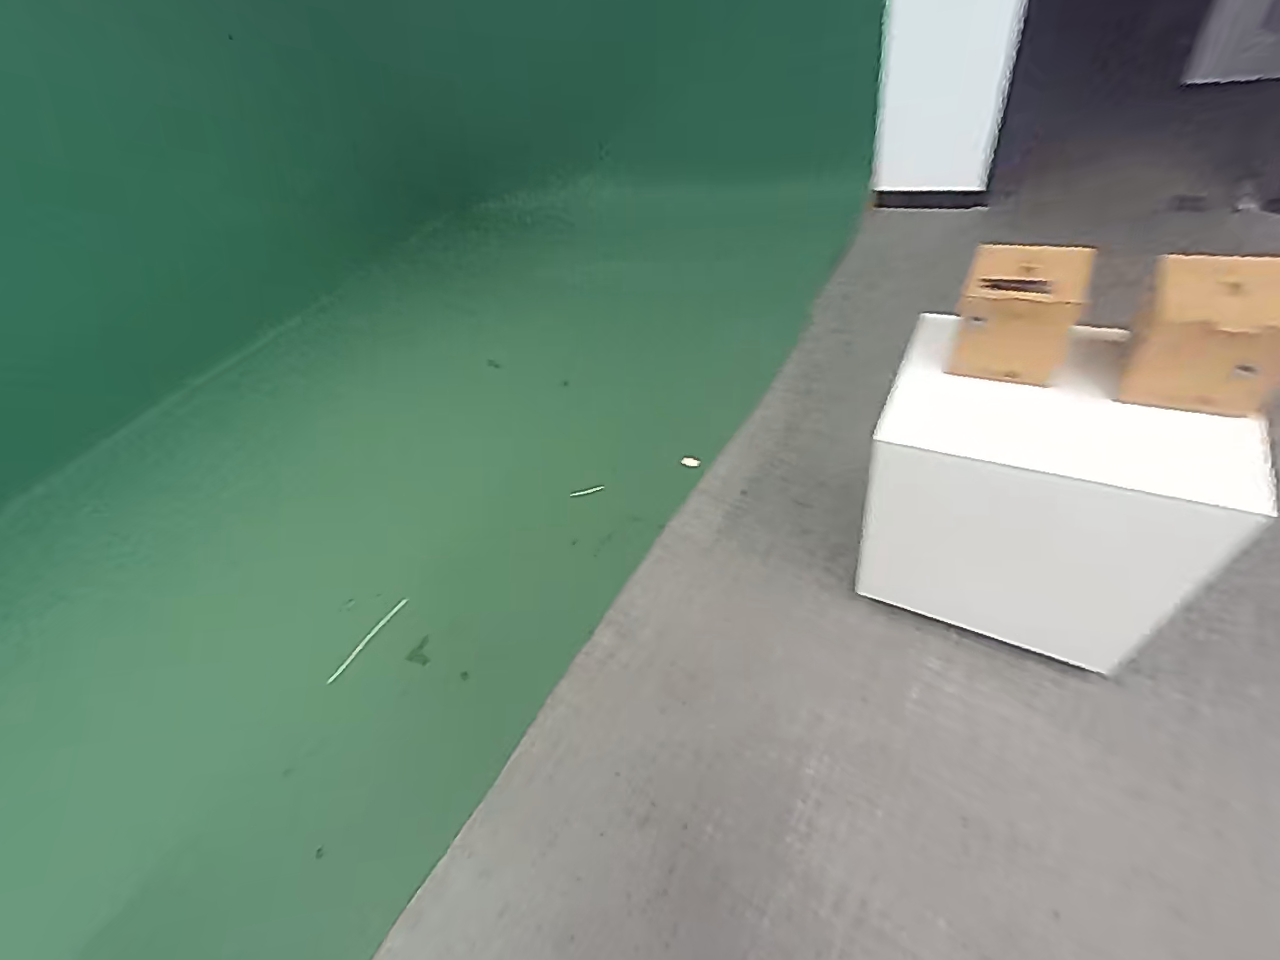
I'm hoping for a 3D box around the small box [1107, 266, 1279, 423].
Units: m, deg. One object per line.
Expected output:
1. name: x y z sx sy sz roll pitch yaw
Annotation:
1. small box: 0.870 -0.213 0.850 0.168 0.176 0.179 16 55 28
